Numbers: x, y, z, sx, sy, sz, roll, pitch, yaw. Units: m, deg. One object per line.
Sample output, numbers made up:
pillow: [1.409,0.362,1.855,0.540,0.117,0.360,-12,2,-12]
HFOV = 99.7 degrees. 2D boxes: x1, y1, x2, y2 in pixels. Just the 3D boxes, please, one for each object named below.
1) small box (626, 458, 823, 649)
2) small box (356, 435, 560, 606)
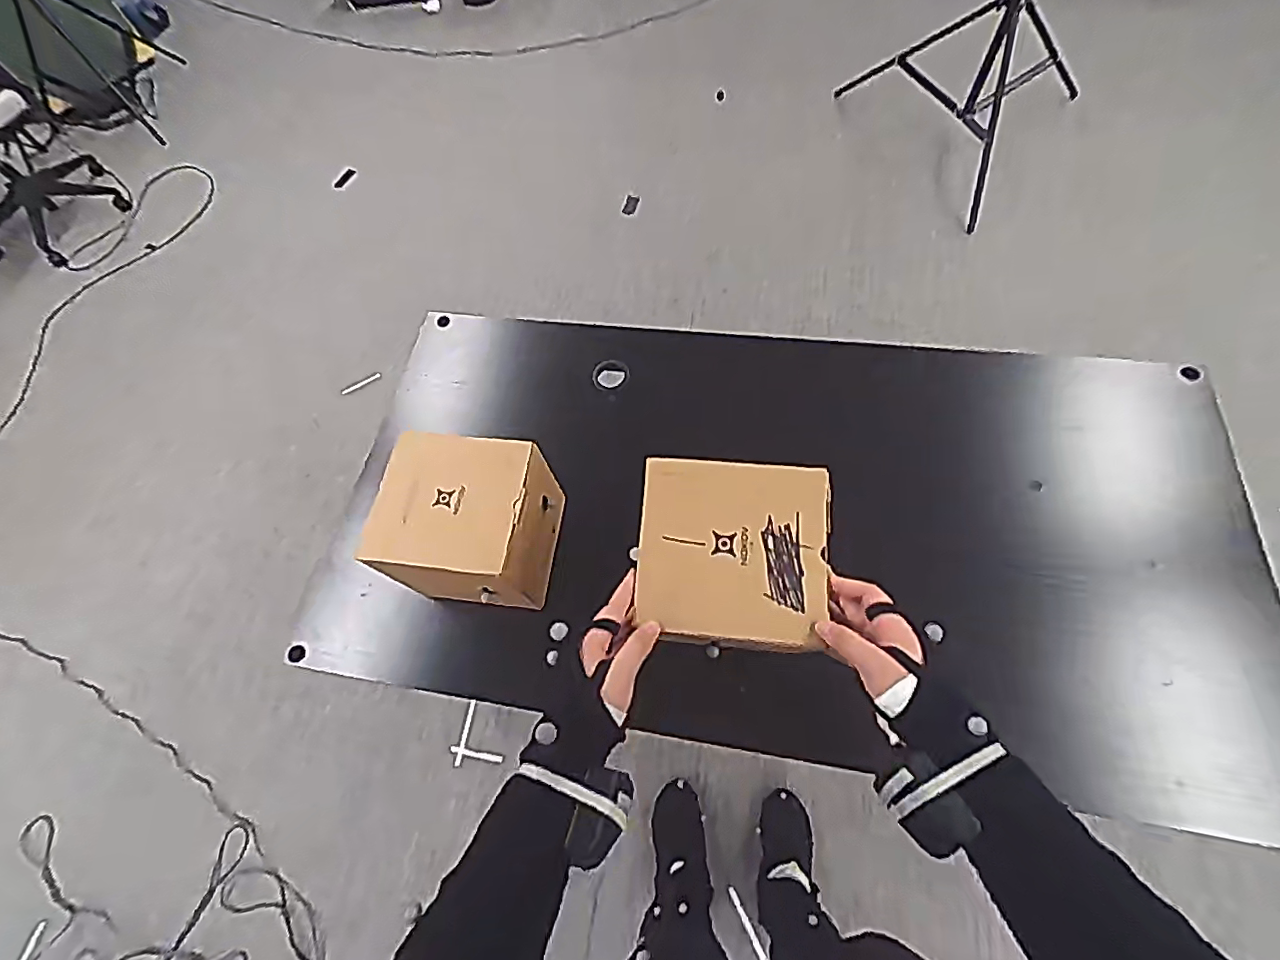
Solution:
small box: [0.087,0.087,0.580,0.179,0.176,0.168,4,71,6]
small box: [-0.212,0.058,0.691,0.179,0.176,0.168,4,64,8]
